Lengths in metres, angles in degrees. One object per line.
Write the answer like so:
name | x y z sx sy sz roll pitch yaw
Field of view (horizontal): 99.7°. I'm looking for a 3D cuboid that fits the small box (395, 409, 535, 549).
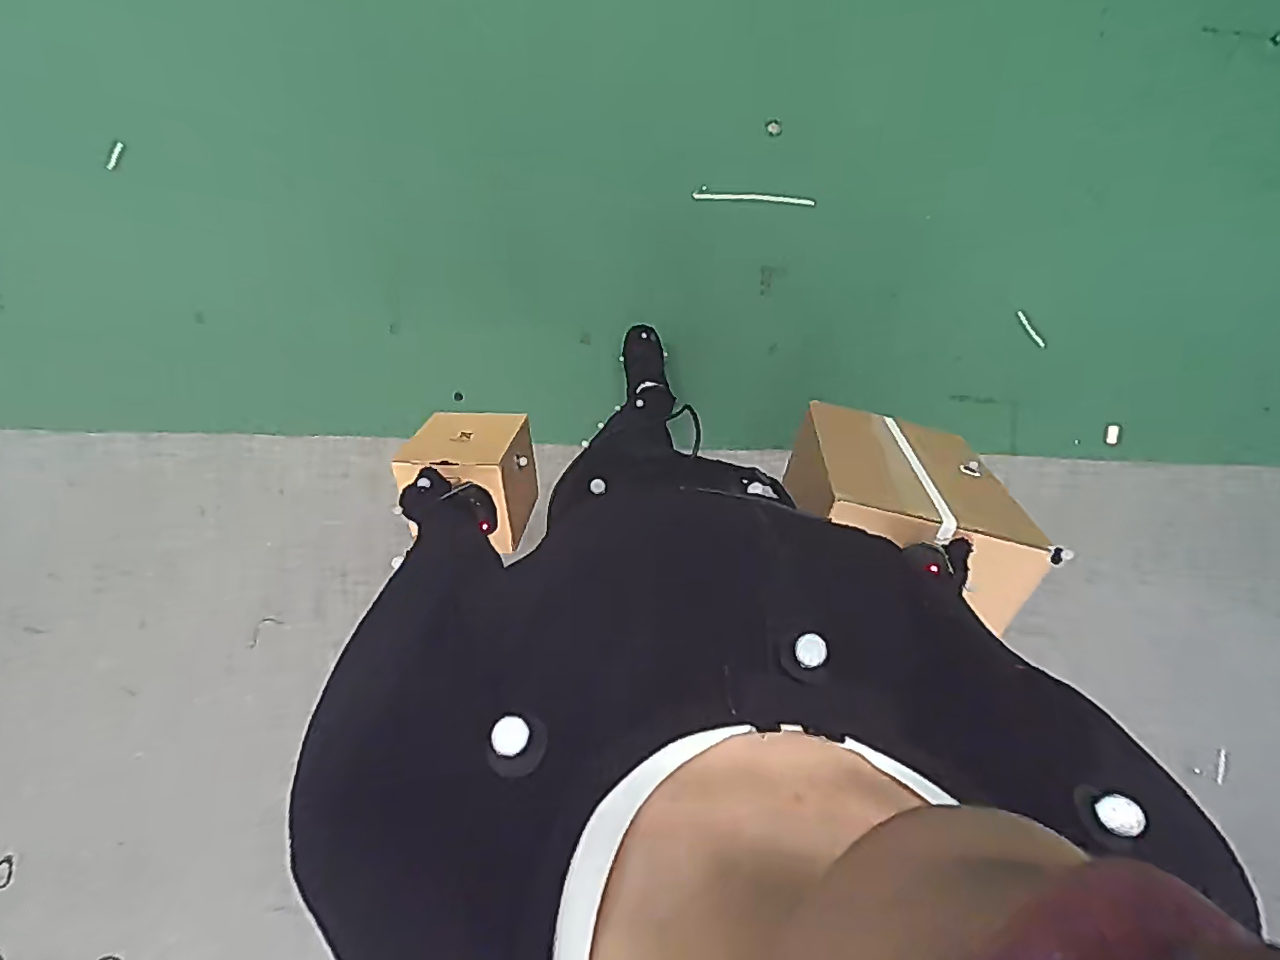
small box | -0.278 -0.006 0.905 0.168 0.179 0.176 2 122 4
